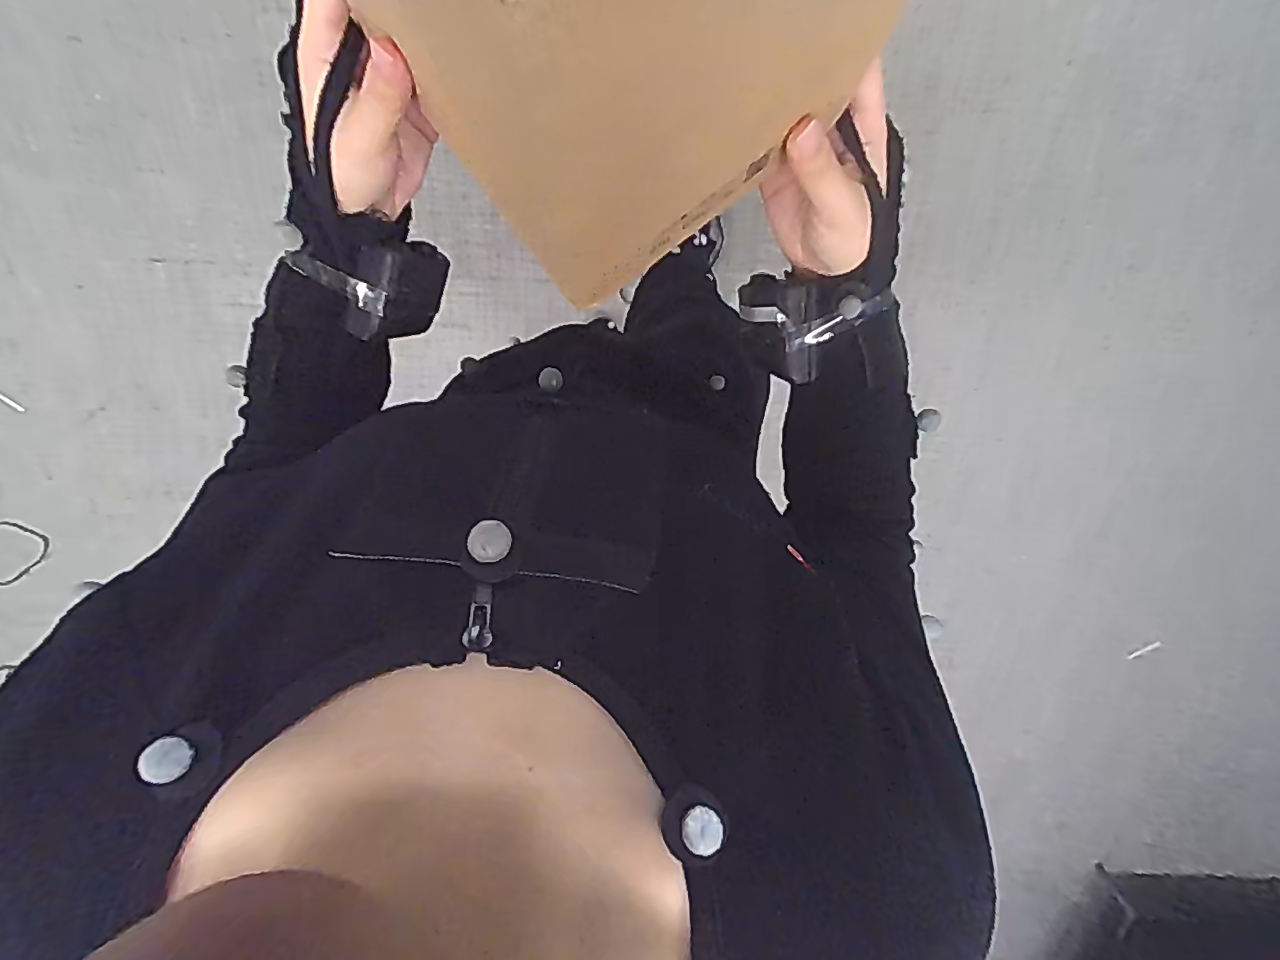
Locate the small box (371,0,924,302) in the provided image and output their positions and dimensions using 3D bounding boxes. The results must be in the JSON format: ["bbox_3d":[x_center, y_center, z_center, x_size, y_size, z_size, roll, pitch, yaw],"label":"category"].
[{"bbox_3d":[-0.007,-0.201,0.195,0.168,0.176,0.179,-38,88,-2],"label":"small box"}]
